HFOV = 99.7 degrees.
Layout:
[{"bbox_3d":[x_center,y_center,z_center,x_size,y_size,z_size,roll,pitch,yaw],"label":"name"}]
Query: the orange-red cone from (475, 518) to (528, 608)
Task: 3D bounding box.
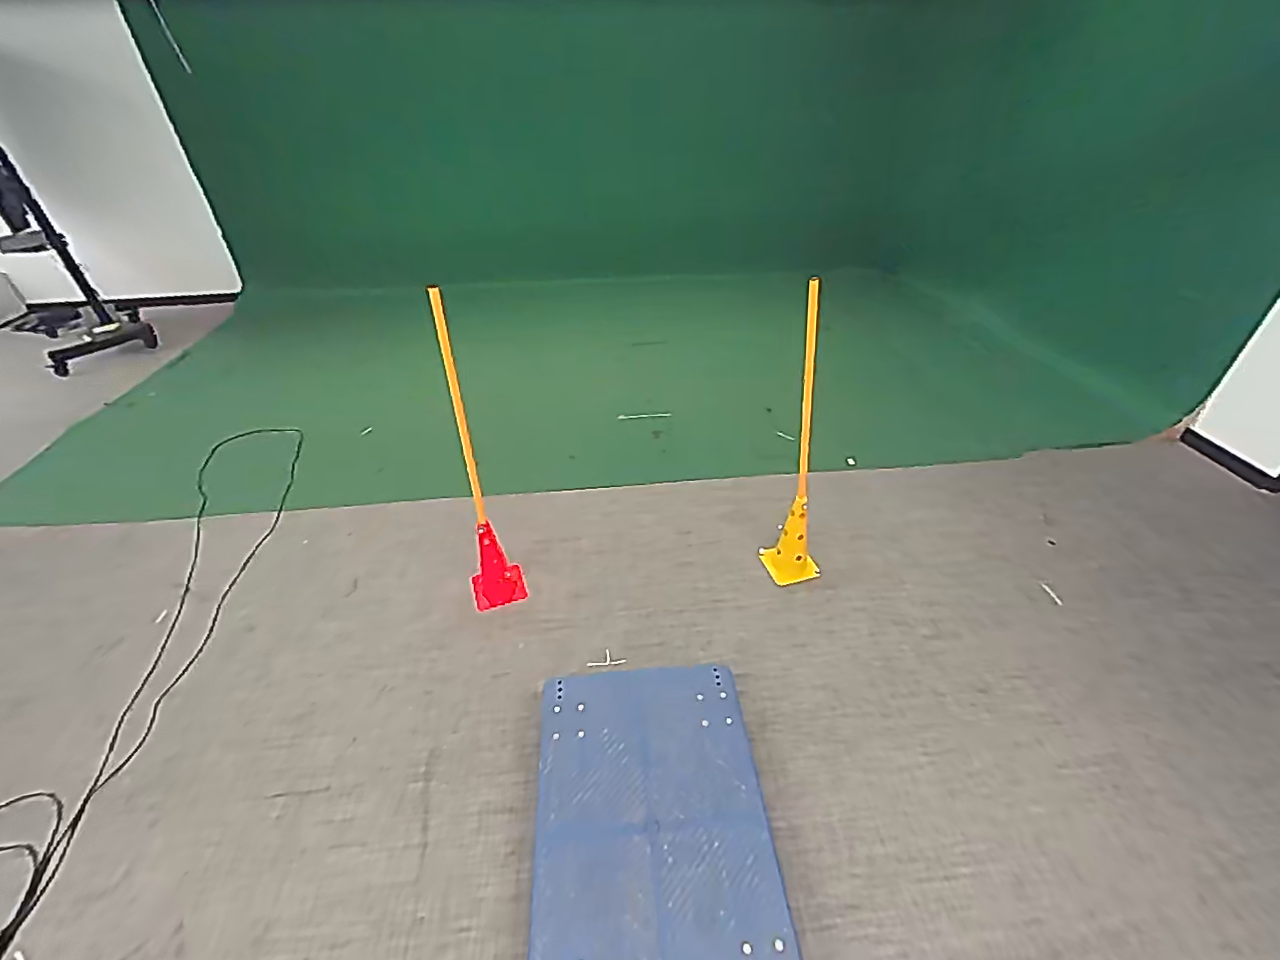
[{"bbox_3d":[-0.563,0.289,2.067,0.199,0.360,0.198,-14,39,-14],"label":"orange-red cone"}]
